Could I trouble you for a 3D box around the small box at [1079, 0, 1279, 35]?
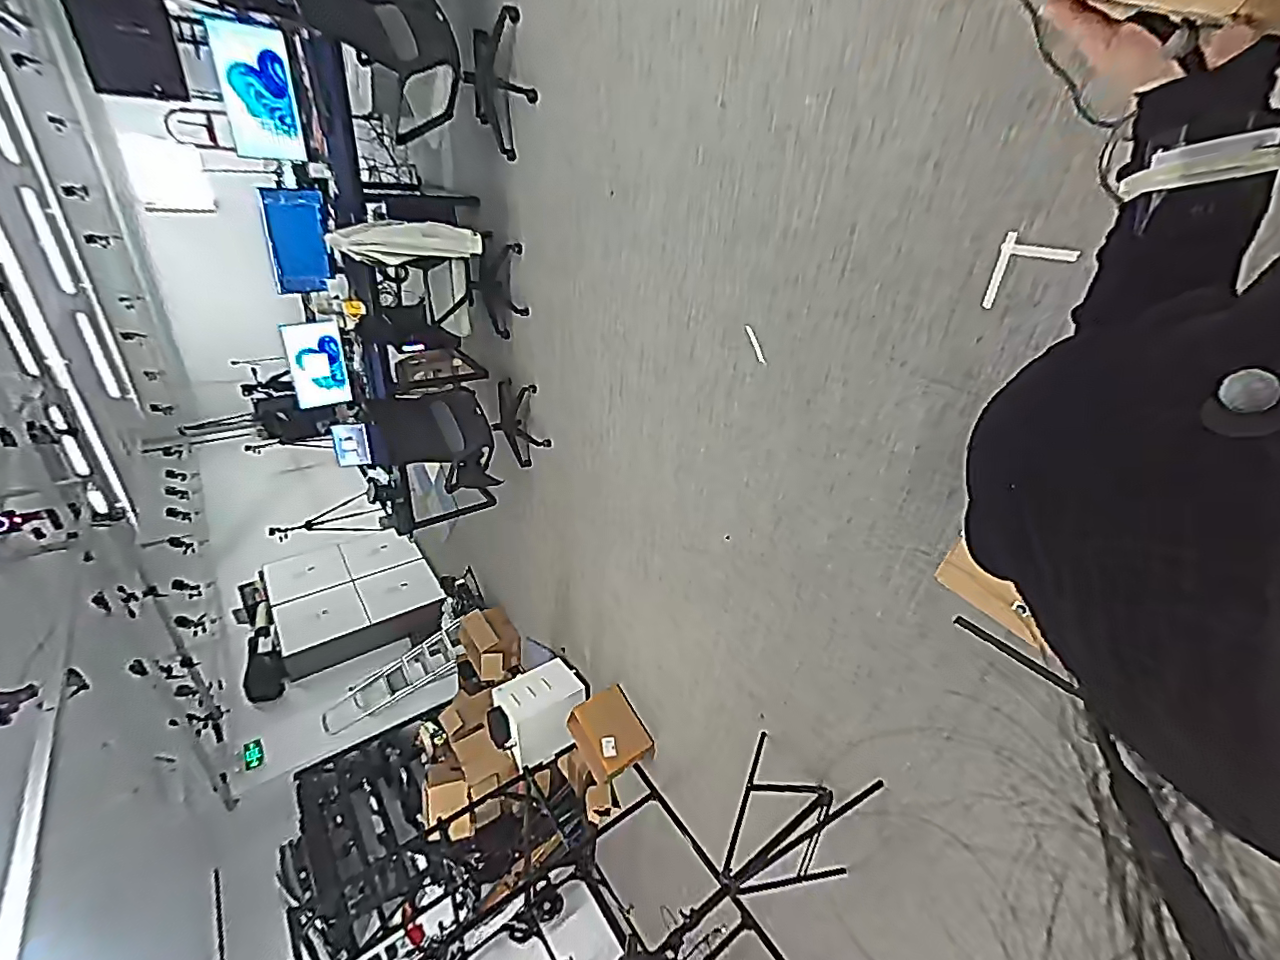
[{"bbox_3d":[0.275,-0.319,0.240,0.179,0.176,0.168,54,149,35],"label":"small box"}]
